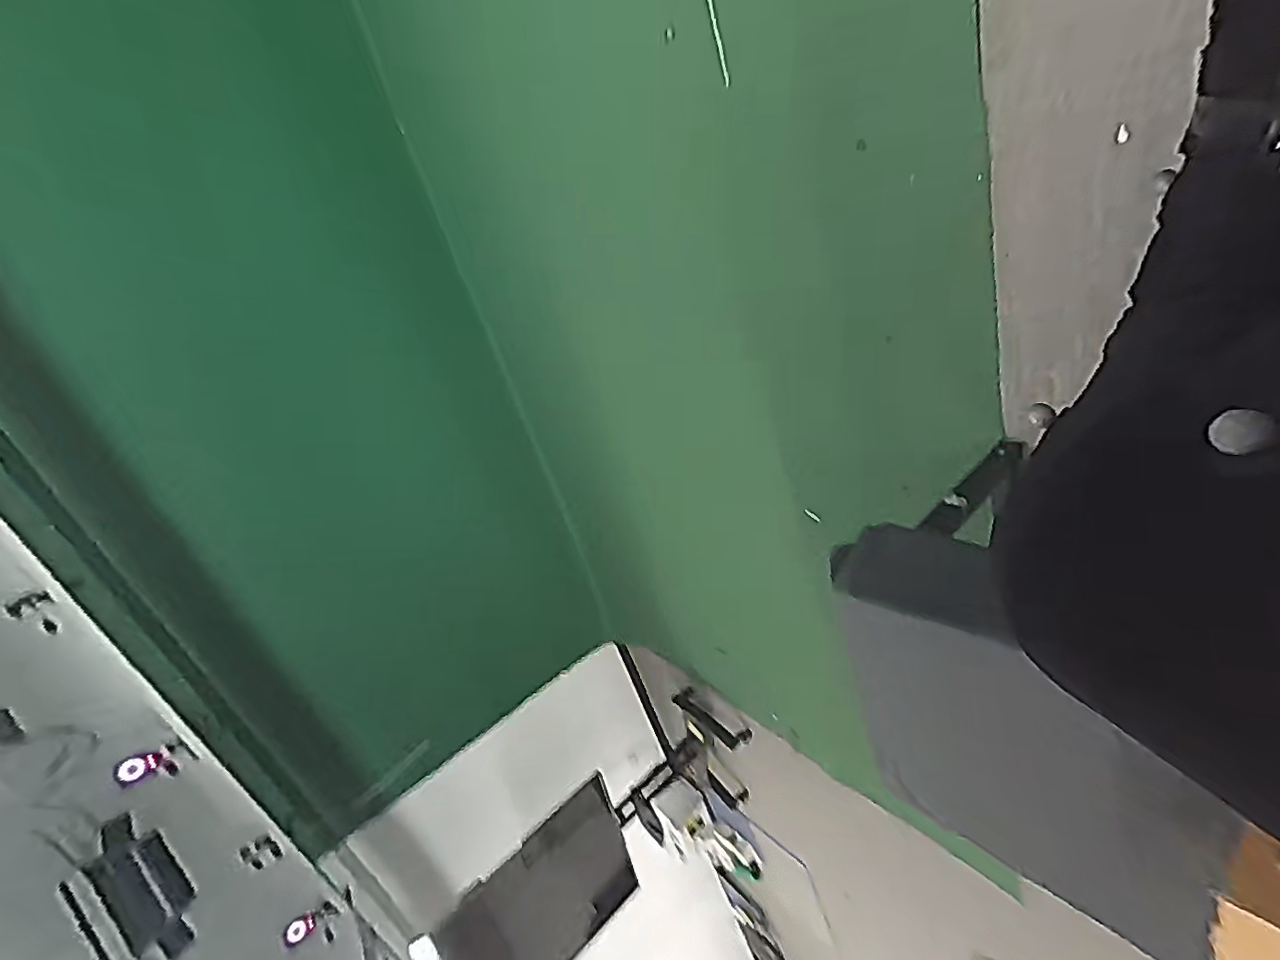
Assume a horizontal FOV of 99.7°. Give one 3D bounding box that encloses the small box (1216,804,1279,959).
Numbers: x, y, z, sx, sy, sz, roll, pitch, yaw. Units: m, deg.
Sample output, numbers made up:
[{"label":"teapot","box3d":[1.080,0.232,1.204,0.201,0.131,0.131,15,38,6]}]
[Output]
[{"label":"small box","box3d":[0.775,0.497,0.587,0.179,0.176,0.168,10,128,53]}]
